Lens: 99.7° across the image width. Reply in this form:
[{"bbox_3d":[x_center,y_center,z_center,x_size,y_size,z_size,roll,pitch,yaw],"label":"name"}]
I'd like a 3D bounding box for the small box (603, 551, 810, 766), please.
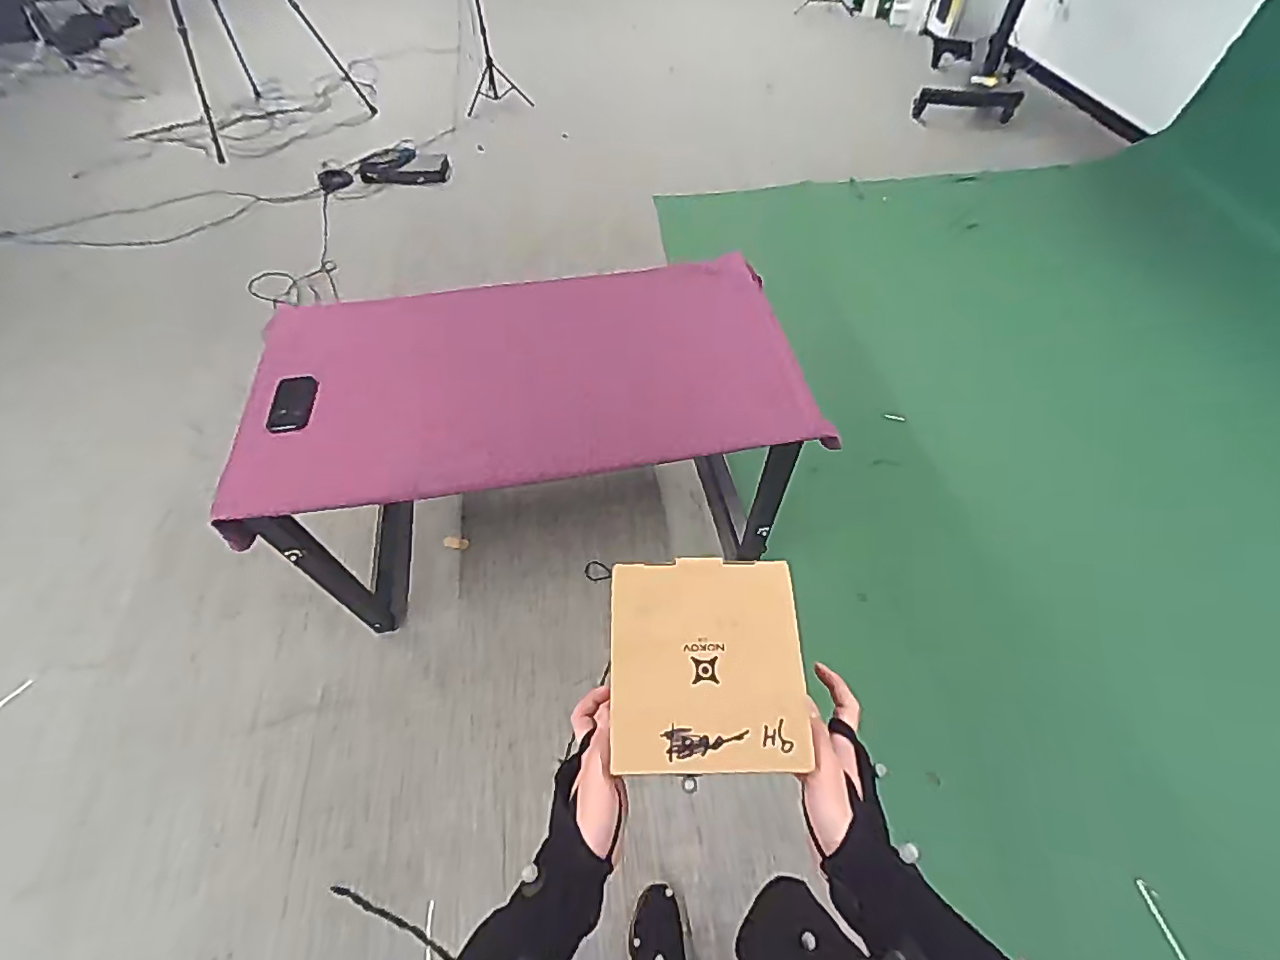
[{"bbox_3d":[0.055,0.180,0.531,0.168,0.176,0.179,-1,63,2],"label":"small box"}]
